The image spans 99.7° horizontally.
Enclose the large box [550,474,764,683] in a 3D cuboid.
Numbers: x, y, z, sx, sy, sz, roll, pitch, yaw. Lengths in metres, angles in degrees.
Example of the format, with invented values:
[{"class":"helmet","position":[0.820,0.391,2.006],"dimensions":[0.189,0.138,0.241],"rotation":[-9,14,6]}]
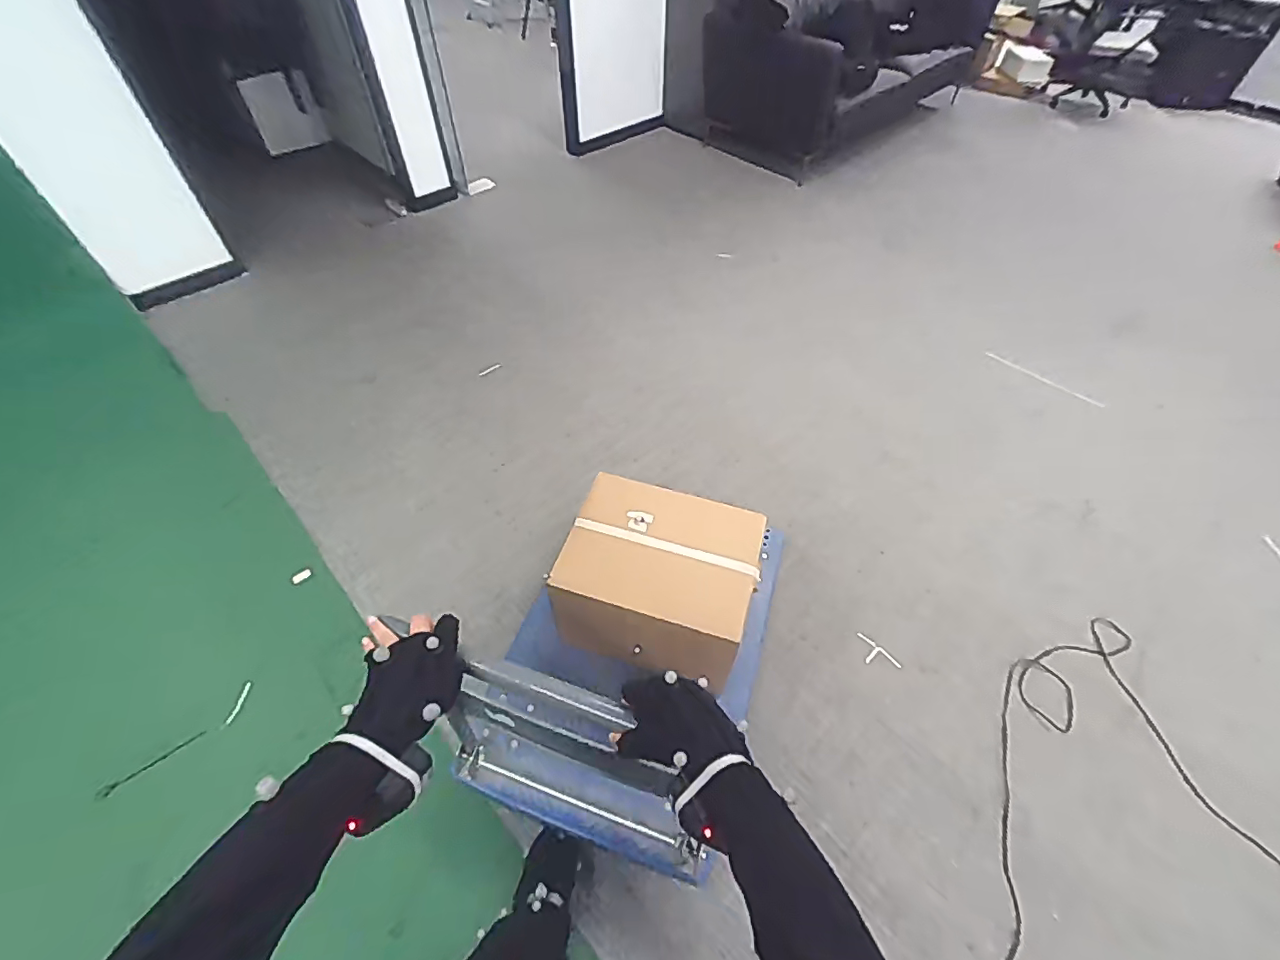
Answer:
[{"class":"large box","position":[0.048,0.234,1.275],"dimensions":[0.408,0.320,0.320],"rotation":[14,52,11]}]
